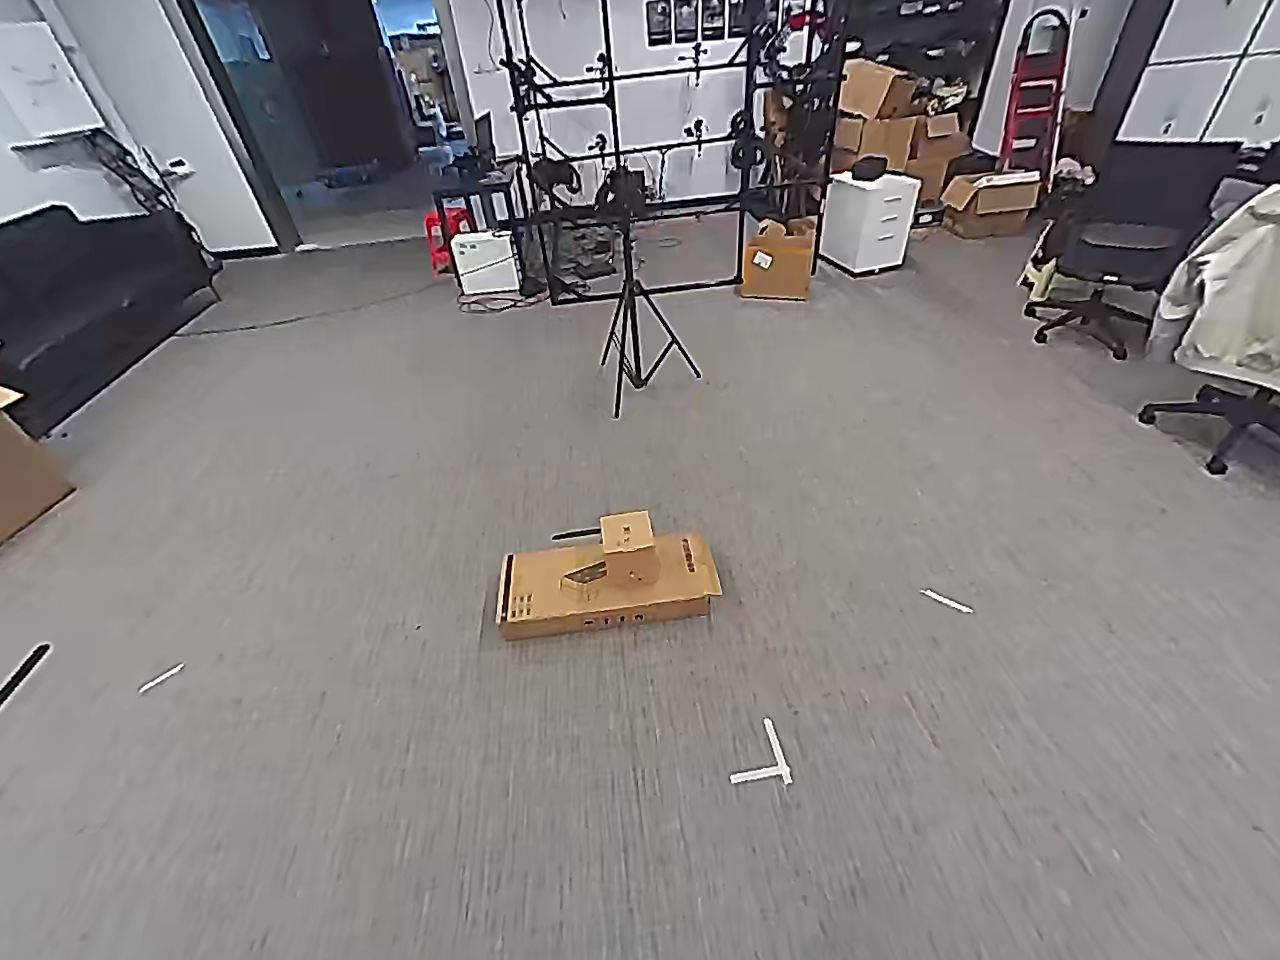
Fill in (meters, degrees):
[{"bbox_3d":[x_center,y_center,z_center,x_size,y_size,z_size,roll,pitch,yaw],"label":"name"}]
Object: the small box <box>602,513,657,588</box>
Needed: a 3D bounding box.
[{"bbox_3d":[-0.036,0.237,1.823,0.168,0.176,0.179,-8,39,-3],"label":"small box"}]
